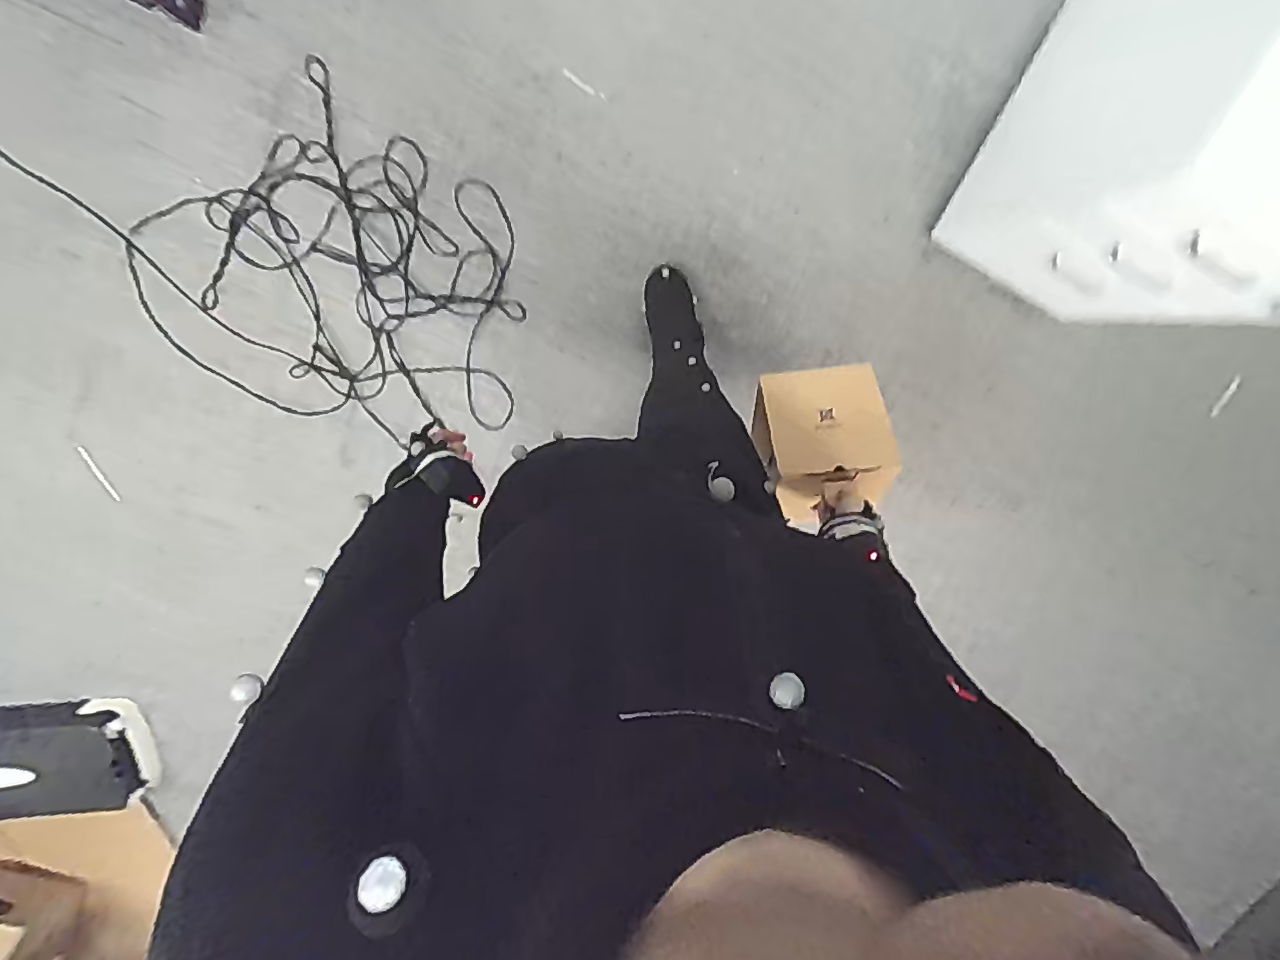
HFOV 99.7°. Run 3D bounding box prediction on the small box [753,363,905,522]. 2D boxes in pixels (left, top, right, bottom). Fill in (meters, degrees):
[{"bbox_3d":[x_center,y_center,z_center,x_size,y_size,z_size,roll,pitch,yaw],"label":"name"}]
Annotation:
[{"bbox_3d":[0.273,-0.053,0.829,0.168,0.176,0.179,-6,63,3],"label":"small box"}]
